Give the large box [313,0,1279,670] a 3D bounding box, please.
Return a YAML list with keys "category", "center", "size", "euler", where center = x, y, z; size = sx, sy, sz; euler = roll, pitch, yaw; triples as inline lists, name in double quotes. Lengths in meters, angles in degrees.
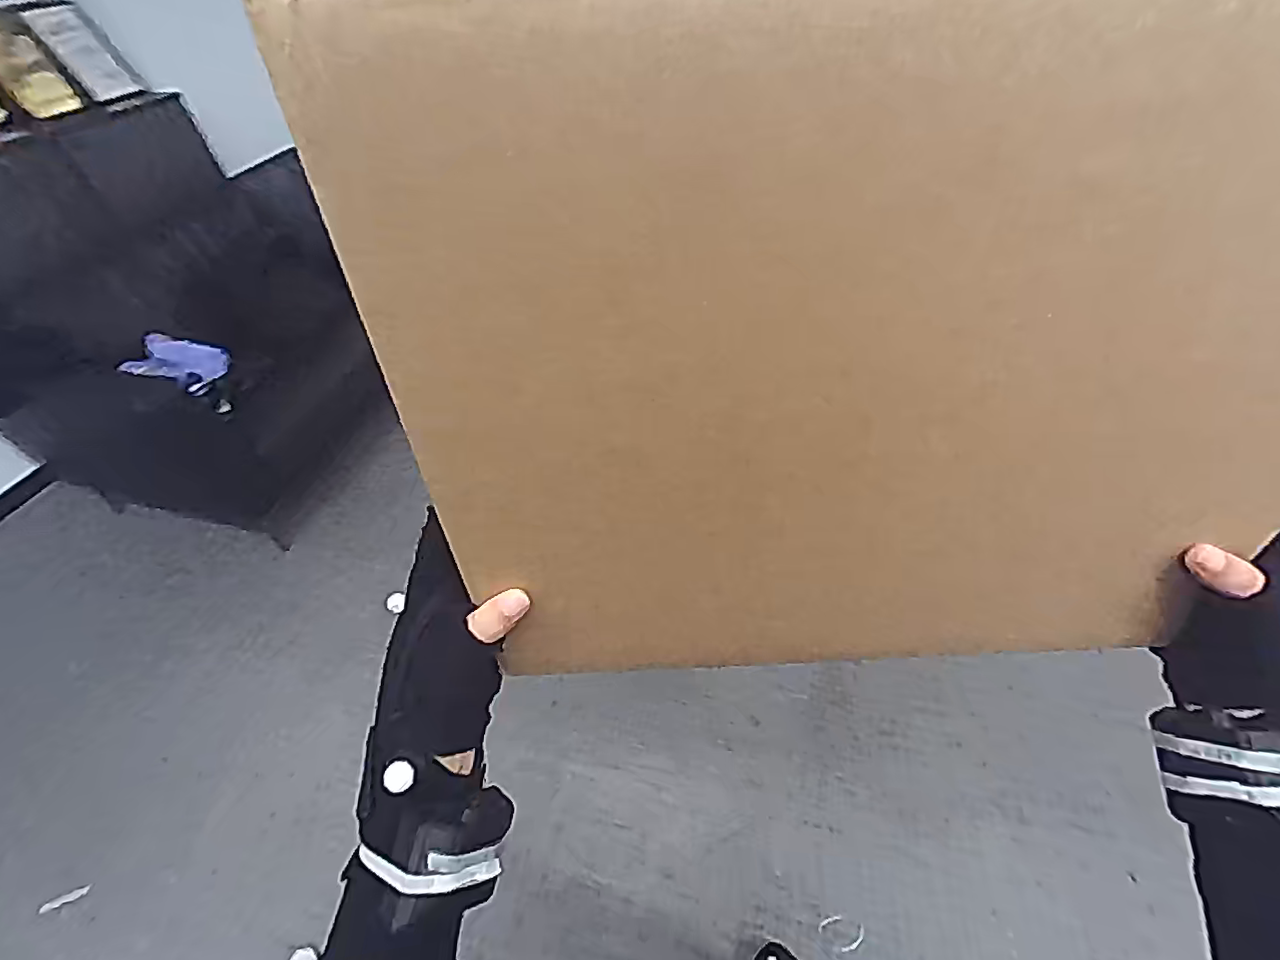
- category: "large box"
  center: [0.106, -0.106, 0.351]
  size: [0.408, 0.320, 0.320]
  euler: [-3, 39, -1]
